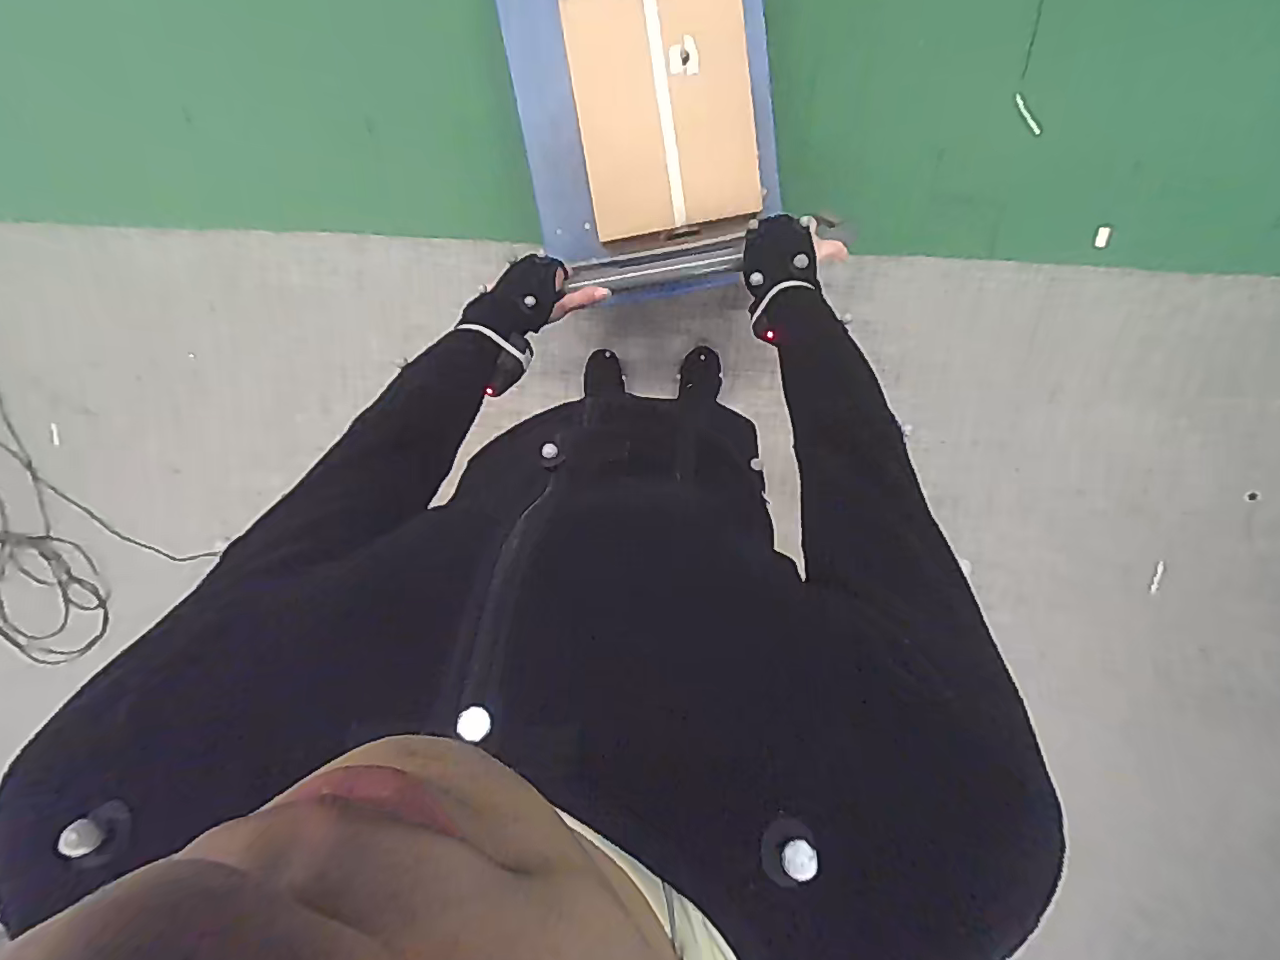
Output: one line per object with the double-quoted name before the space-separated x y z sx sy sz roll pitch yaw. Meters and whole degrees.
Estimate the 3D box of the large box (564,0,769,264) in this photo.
"large box" 0.062 -0.694 1.101 0.320 0.320 0.408 -8 104 5
